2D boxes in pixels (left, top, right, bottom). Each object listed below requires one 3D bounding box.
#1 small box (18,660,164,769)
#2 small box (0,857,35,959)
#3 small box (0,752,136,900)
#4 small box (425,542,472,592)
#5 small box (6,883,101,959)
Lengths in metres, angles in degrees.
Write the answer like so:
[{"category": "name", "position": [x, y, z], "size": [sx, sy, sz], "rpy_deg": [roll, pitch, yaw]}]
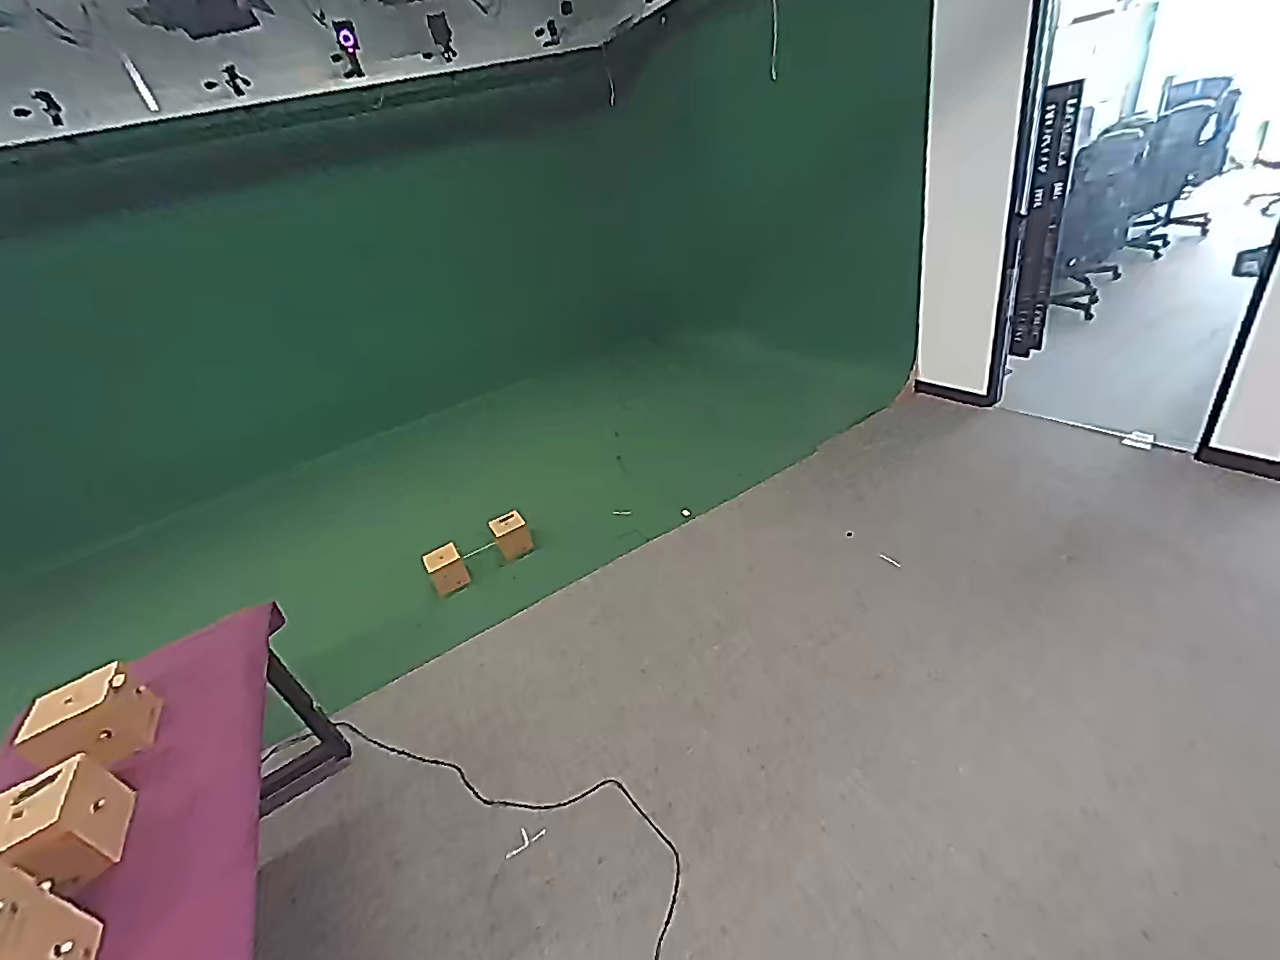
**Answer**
[{"category": "small box", "position": [-1.330, 0.589, 1.329], "size": [0.179, 0.176, 0.168], "rpy_deg": [-27, 33, -20]}, {"category": "small box", "position": [-1.051, 0.661, 0.767], "size": [0.179, 0.176, 0.168], "rpy_deg": [-27, 34, -22]}, {"category": "small box", "position": [-1.165, 0.699, 1.078], "size": [0.168, 0.176, 0.179], "rpy_deg": [-28, 34, -21]}, {"category": "small box", "position": [-0.998, 0.461, 2.825], "size": [0.168, 0.176, 0.179], "rpy_deg": [-27, 32, -20]}, {"category": "small box", "position": [-1.017, 0.800, 0.848], "size": [0.179, 0.176, 0.168], "rpy_deg": [-27, 32, -22]}]
